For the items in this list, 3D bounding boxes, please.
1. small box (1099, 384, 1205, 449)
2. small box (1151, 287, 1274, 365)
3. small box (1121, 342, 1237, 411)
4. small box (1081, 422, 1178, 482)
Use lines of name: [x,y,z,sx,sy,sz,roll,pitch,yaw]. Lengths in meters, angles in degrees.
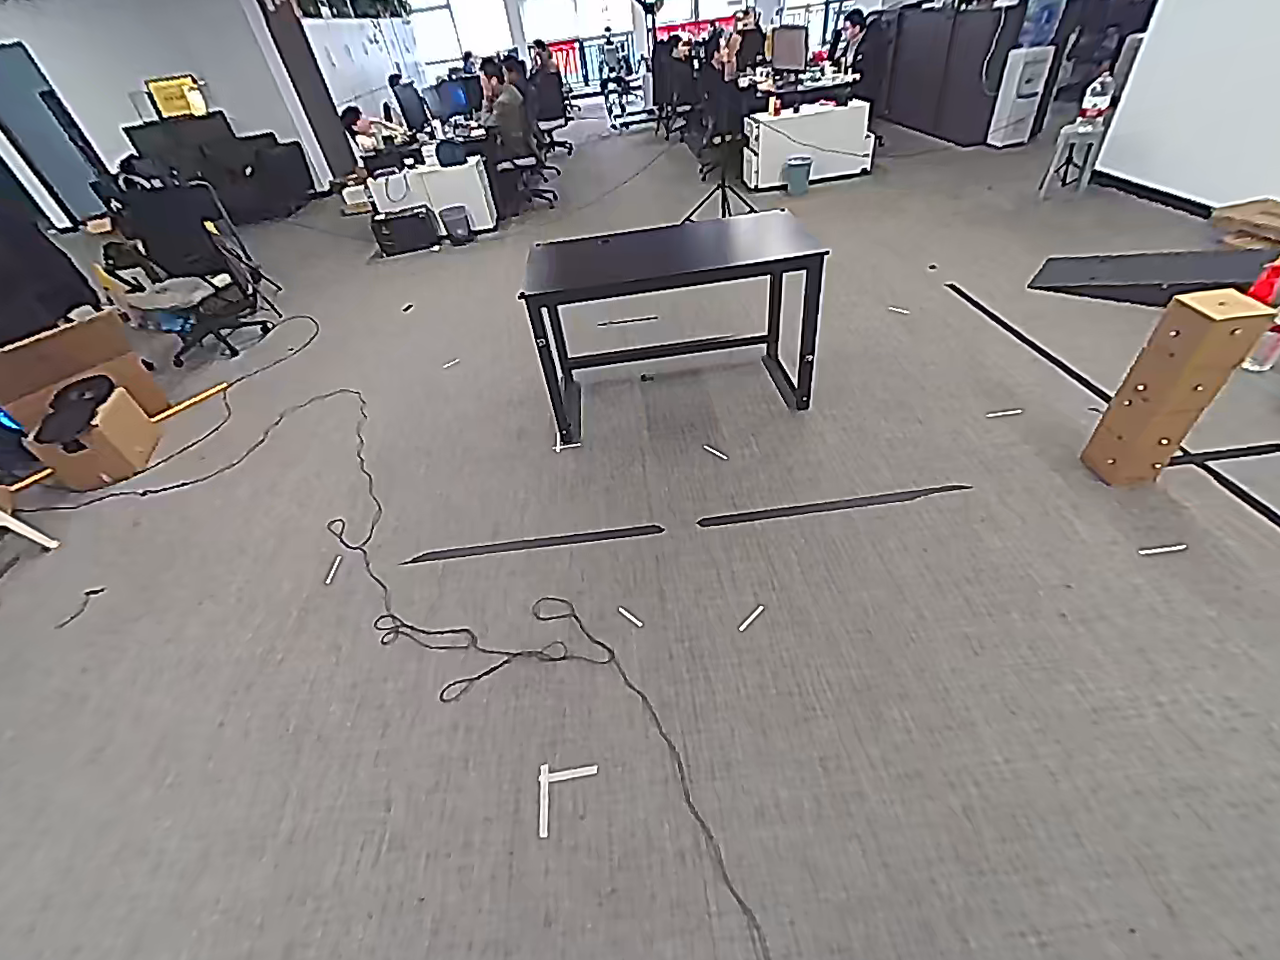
small box: [1.762,-0.227,1.873,0.179,0.176,0.168,-9,41,-1]
small box: [1.723,-0.466,1.649,0.179,0.176,0.168,-6,42,3]
small box: [1.742,-0.346,1.761,0.179,0.176,0.168,-10,41,0]
small box: [1.784,-0.107,1.982,0.168,0.176,0.179,-8,40,1]
